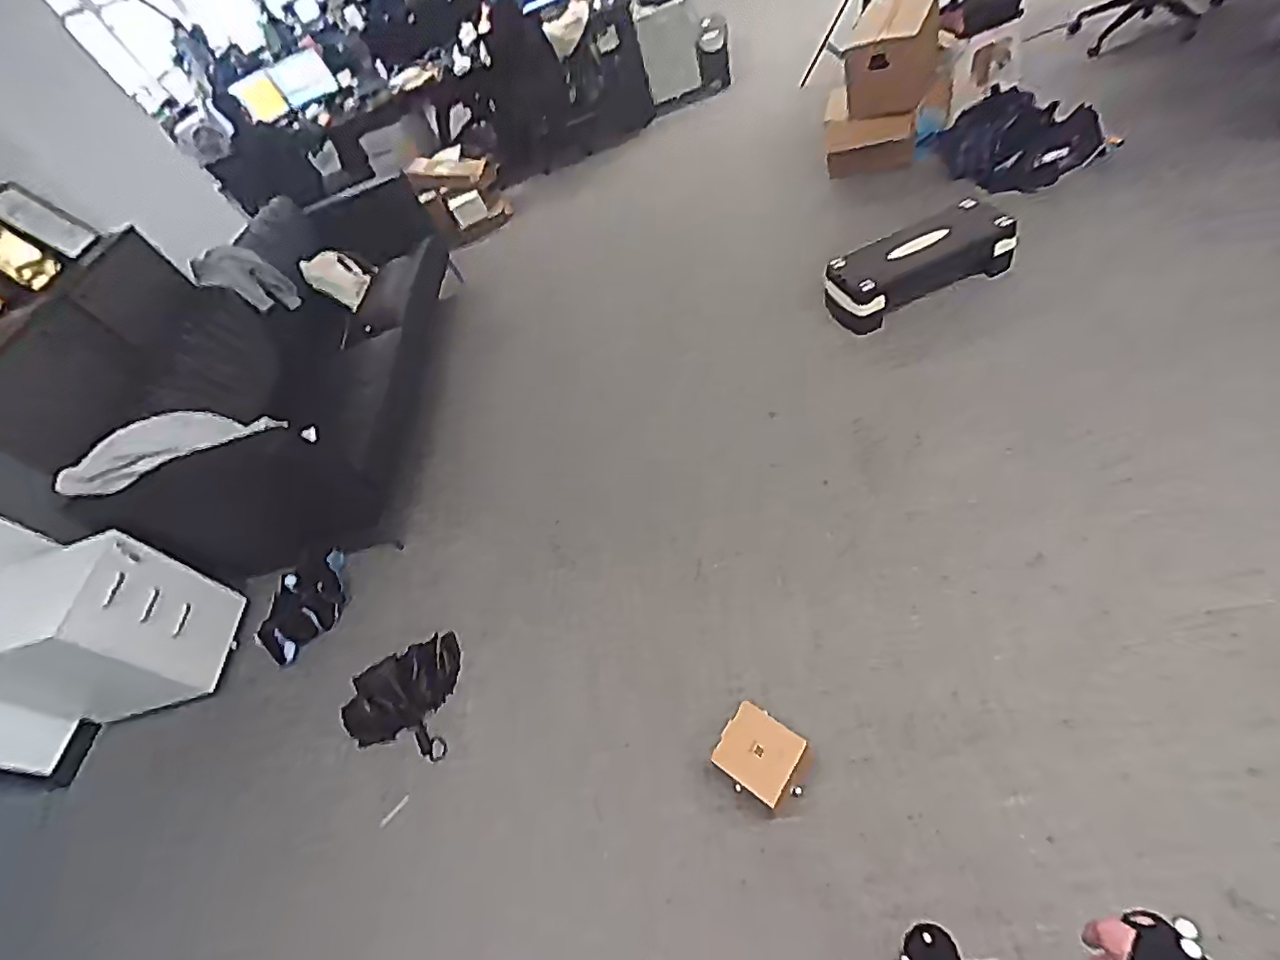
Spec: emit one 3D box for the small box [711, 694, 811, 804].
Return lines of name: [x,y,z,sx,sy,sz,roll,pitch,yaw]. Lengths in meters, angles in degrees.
small box: [0.304,0.669,1.336,0.179,0.176,0.168,24,67,34]
